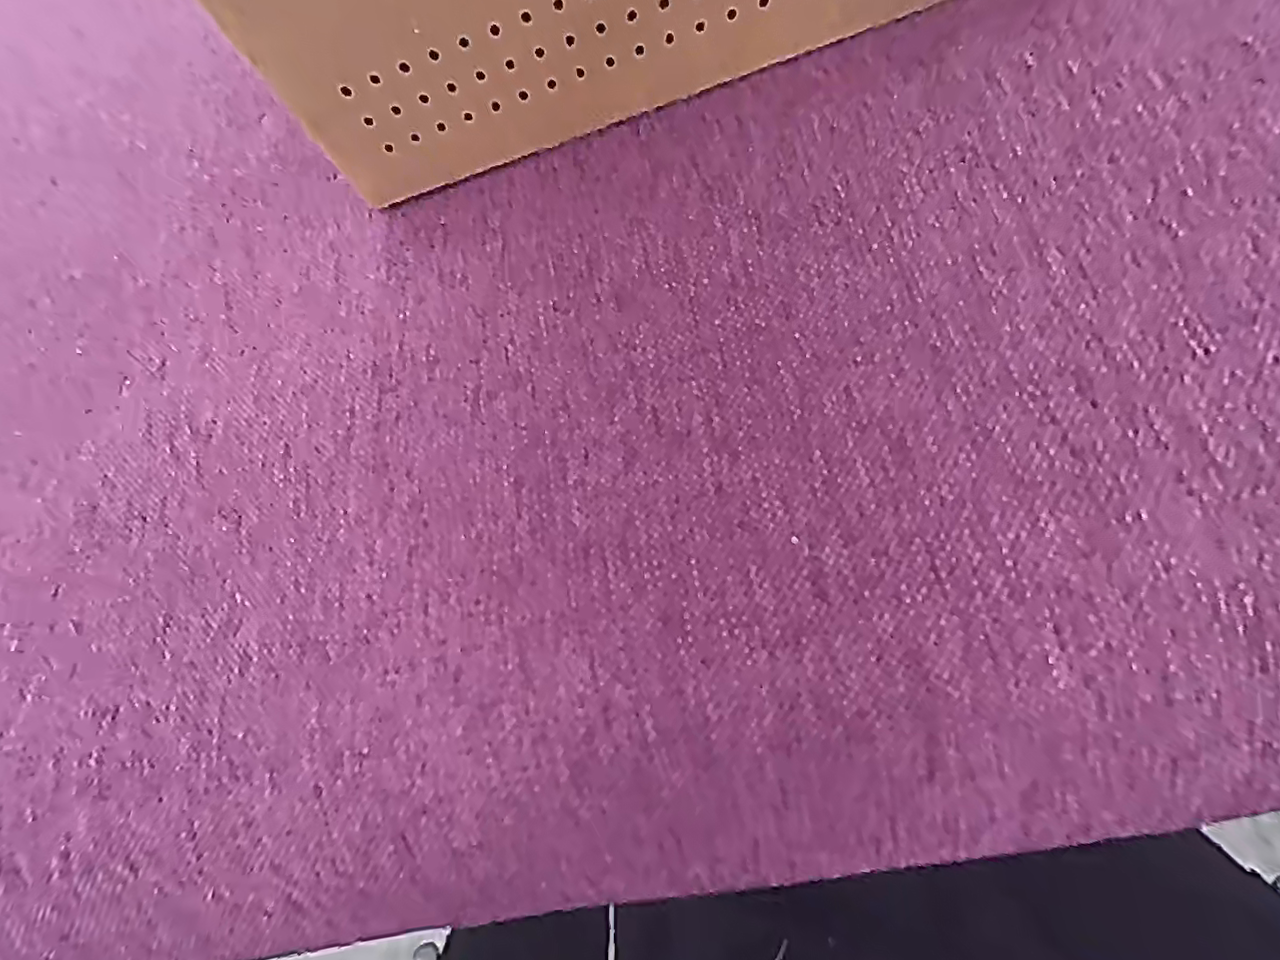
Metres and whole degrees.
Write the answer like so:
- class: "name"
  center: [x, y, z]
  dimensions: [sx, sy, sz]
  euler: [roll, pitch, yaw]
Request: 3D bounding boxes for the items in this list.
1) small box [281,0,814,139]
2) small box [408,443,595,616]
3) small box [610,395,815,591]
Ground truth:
- class: "small box"
  center: [-0.010, -0.197, 0.074]
  dimensions: [0.179, 0.176, 0.168]
  euler: [-15, 68, 8]
- class: "small box"
  center: [-0.165, 0.073, 0.693]
  dimensions: [0.179, 0.176, 0.168]
  euler: [-16, 72, 7]
- class: "small box"
  center: [0.079, 0.028, 0.626]
  dimensions: [0.179, 0.176, 0.168]
  euler: [-16, 75, 2]
